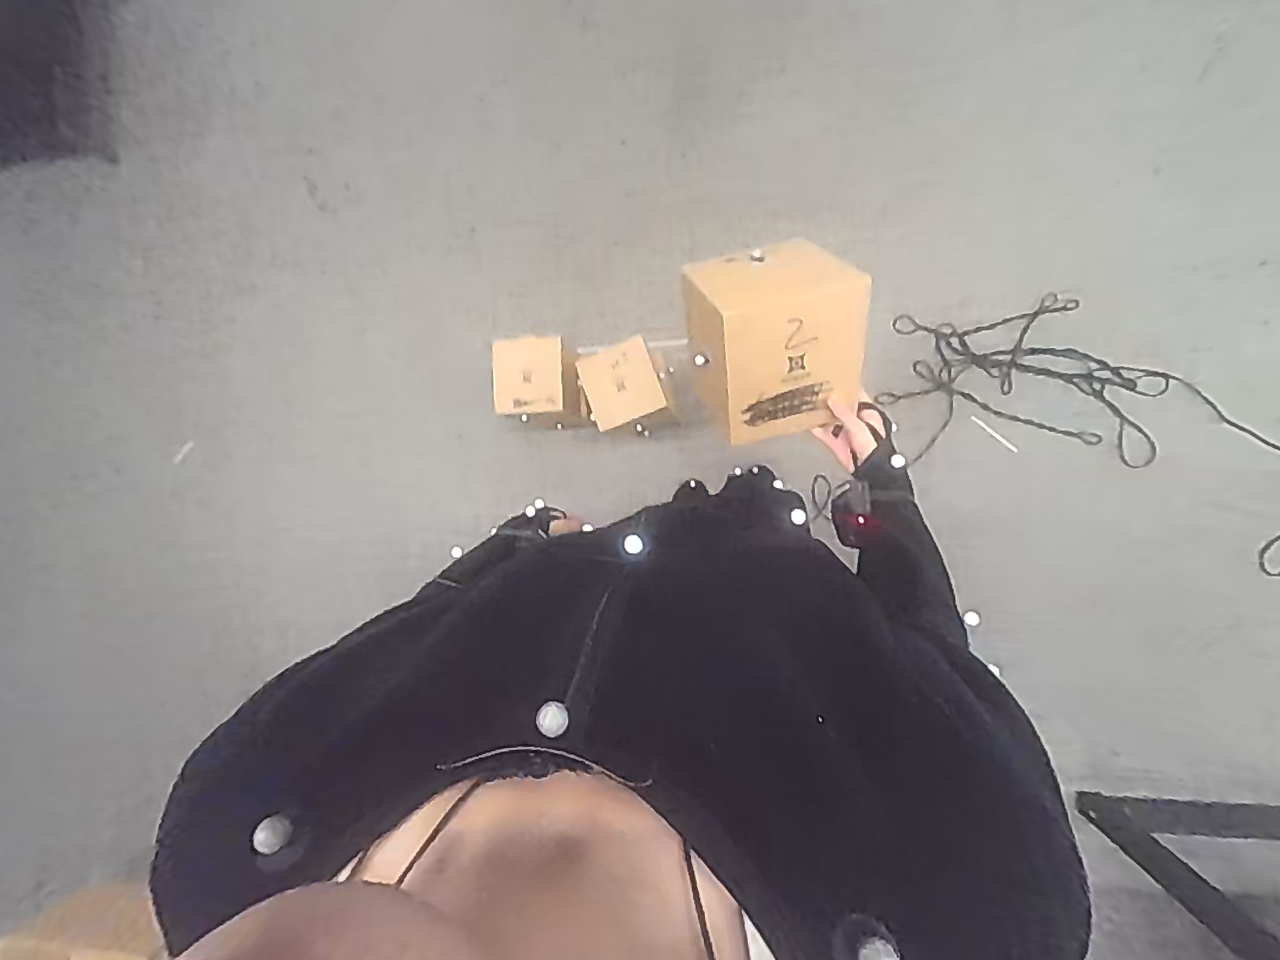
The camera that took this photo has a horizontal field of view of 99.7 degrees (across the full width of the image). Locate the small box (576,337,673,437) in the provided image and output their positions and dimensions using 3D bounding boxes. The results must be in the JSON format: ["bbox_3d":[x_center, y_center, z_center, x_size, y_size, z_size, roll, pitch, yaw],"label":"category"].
[{"bbox_3d":[-0.029,-0.209,1.273,0.168,0.176,0.179,-21,85,8],"label":"small box"}]

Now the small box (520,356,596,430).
[{"bbox_3d":[-0.211,-0.230,1.466,0.179,0.176,0.168,-4,88,9],"label":"small box"}]
